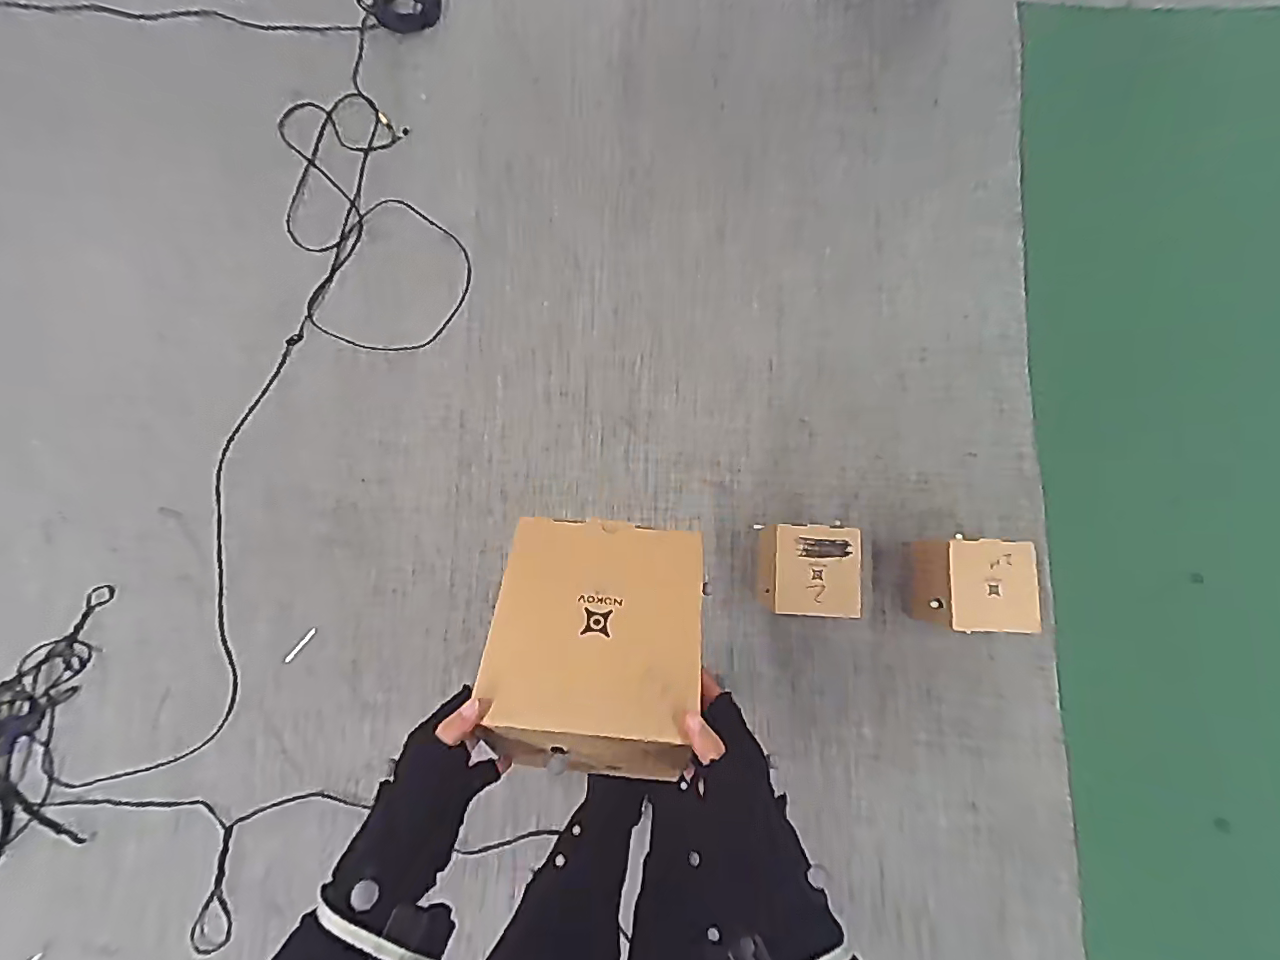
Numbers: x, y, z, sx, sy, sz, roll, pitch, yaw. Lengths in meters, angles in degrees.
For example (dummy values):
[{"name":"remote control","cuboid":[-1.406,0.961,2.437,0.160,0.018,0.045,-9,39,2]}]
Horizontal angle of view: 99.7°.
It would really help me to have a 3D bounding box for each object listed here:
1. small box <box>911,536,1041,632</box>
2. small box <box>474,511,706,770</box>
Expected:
[{"name":"small box","cuboid":[0.677,0.207,1.107,0.168,0.176,0.179,1,82,2]},{"name":"small box","cuboid":[-0.032,0.151,0.491,0.168,0.176,0.179,5,52,1]}]
